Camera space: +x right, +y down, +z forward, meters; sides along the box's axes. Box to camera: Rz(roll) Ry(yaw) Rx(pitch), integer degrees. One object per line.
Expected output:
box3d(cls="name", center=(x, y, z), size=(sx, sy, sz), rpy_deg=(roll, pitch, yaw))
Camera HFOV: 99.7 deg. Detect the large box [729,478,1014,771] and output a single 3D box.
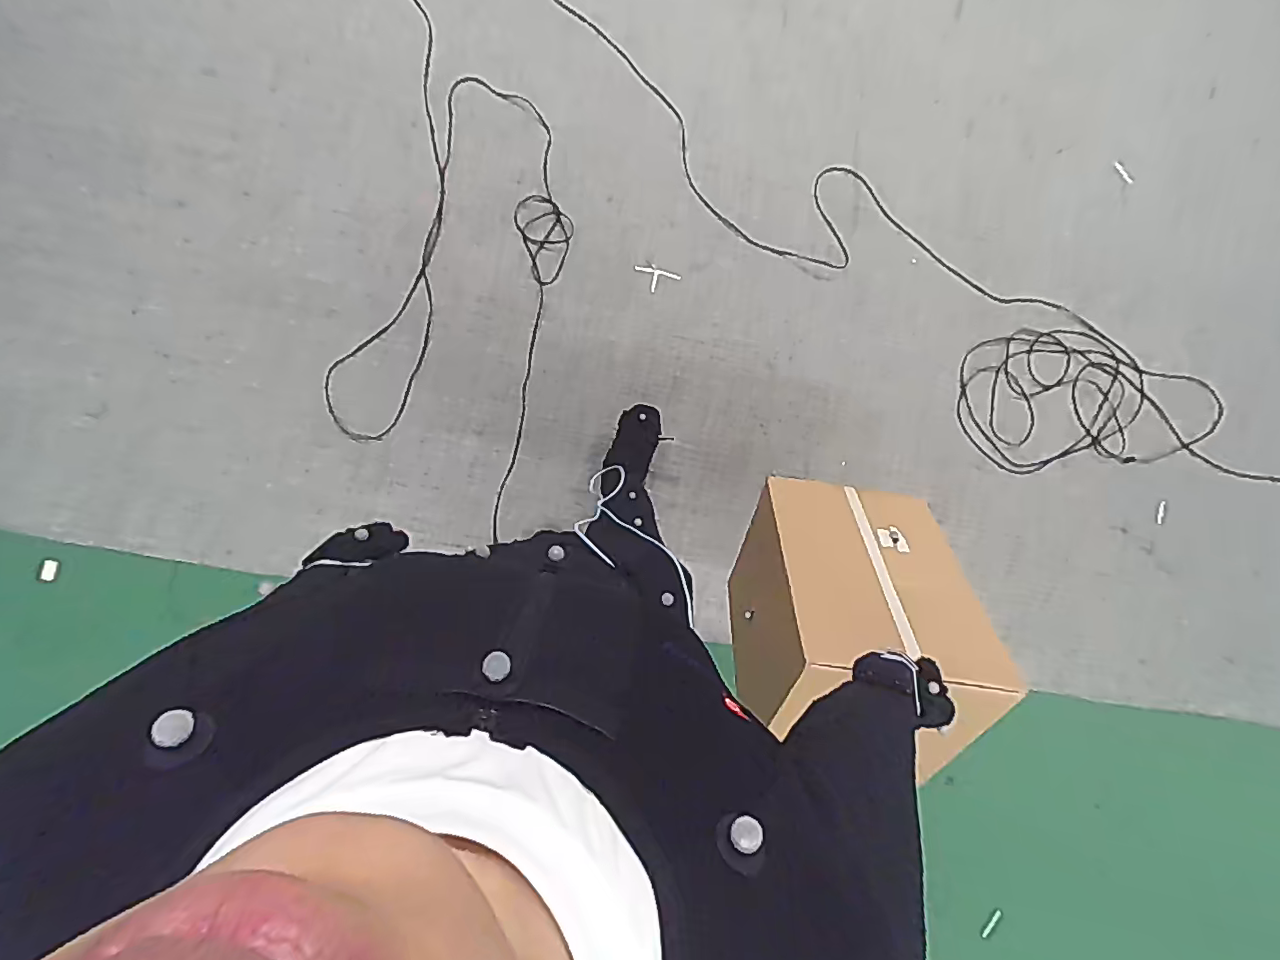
box3d(cls="large box", center=(0.360, 0.253, 0.988), size=(0.320, 0.408, 0.320), rpy_deg=(9, 128, -4))
